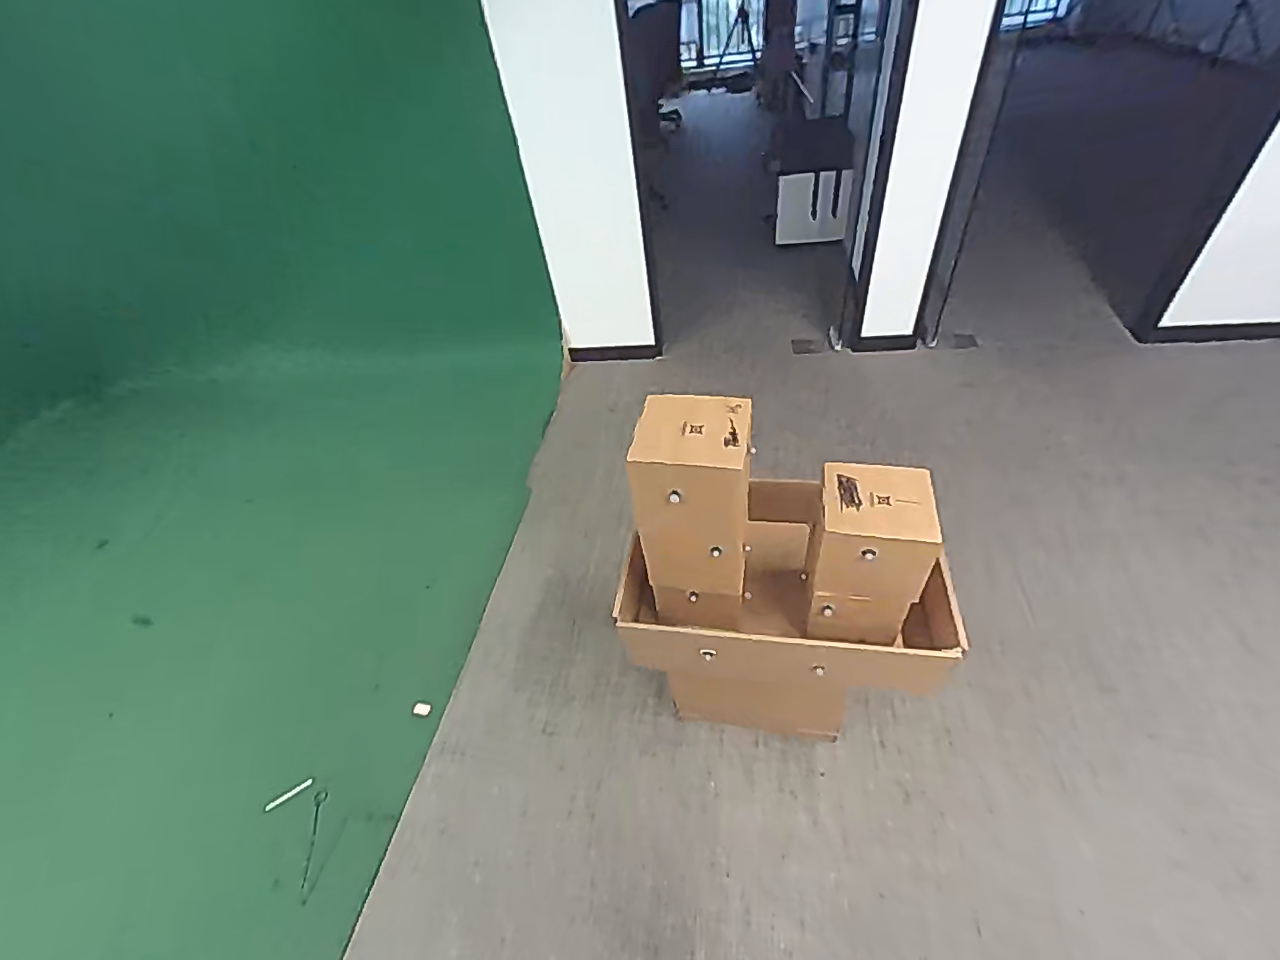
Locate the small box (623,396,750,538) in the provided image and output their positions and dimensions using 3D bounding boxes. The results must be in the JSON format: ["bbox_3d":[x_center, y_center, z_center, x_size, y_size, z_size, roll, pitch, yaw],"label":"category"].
[{"bbox_3d":[0.086,-0.021,0.889,0.179,0.176,0.168,4,47,14],"label":"small box"}]

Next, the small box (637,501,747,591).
[{"bbox_3d":[0.105,0.091,1.008,0.179,0.176,0.168,4,47,13],"label":"small box"}]

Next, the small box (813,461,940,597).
[{"bbox_3d":[0.402,0.087,0.949,0.179,0.176,0.168,4,46,14],"label":"small box"}]

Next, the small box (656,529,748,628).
[{"bbox_3d":[0.131,0.193,1.132,0.179,0.176,0.168,3,47,13],"label":"small box"}]
